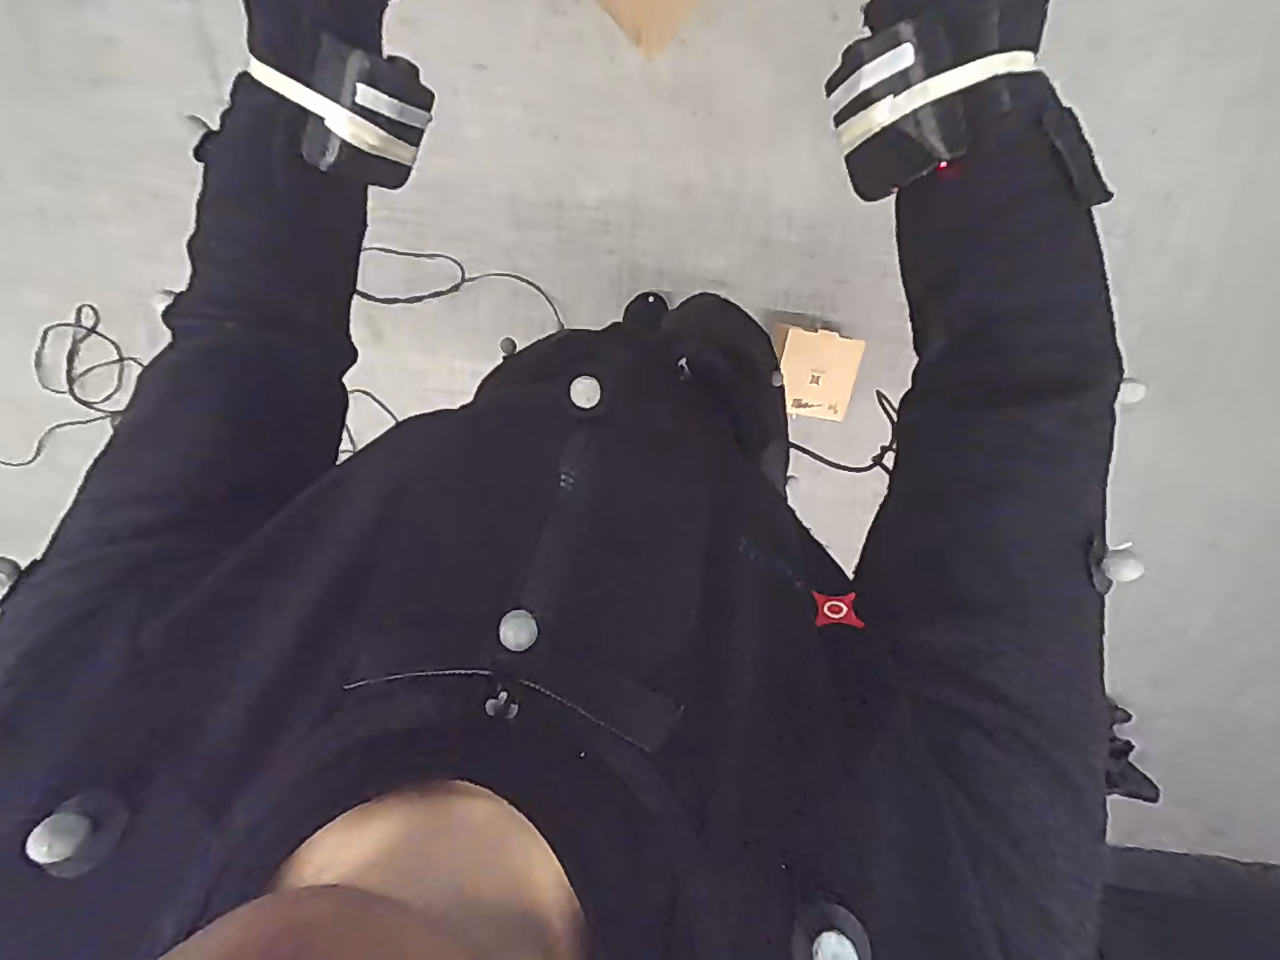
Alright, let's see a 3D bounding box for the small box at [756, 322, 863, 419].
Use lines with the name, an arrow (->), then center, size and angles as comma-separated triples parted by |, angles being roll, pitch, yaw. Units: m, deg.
small box -> 0.367, -0.250, 1.208 | 0.168, 0.176, 0.179 | 10, 109, -2
